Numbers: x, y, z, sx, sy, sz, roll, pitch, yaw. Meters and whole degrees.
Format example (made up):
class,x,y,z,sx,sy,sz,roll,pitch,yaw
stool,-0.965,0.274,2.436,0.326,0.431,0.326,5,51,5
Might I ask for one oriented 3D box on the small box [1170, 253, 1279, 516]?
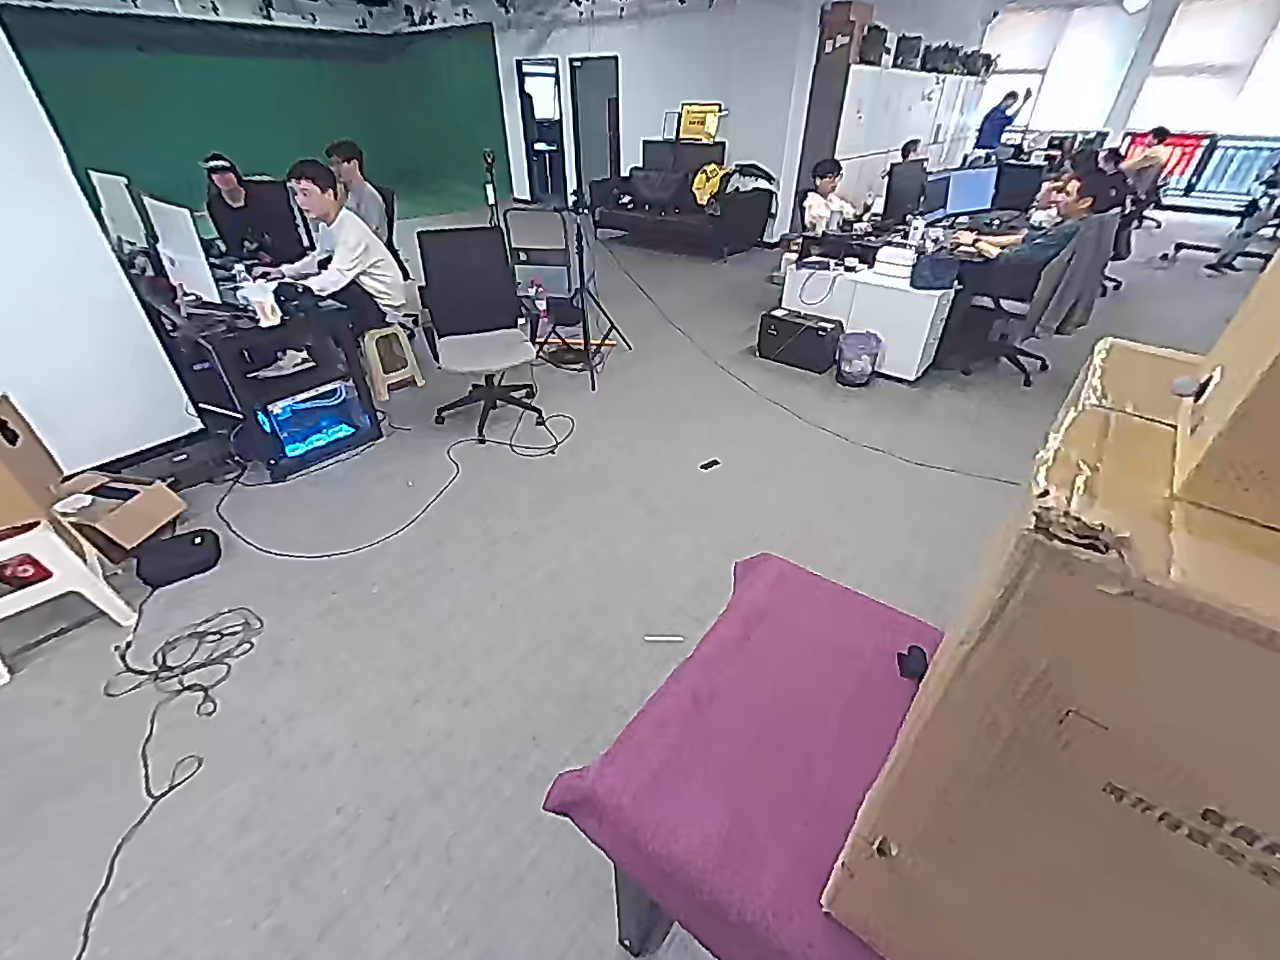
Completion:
class,x,y,z,sx,sy,sz,roll,pitch,yaw
small box,0.450,-0.063,0.295,0.179,0.176,0.168,25,42,31
